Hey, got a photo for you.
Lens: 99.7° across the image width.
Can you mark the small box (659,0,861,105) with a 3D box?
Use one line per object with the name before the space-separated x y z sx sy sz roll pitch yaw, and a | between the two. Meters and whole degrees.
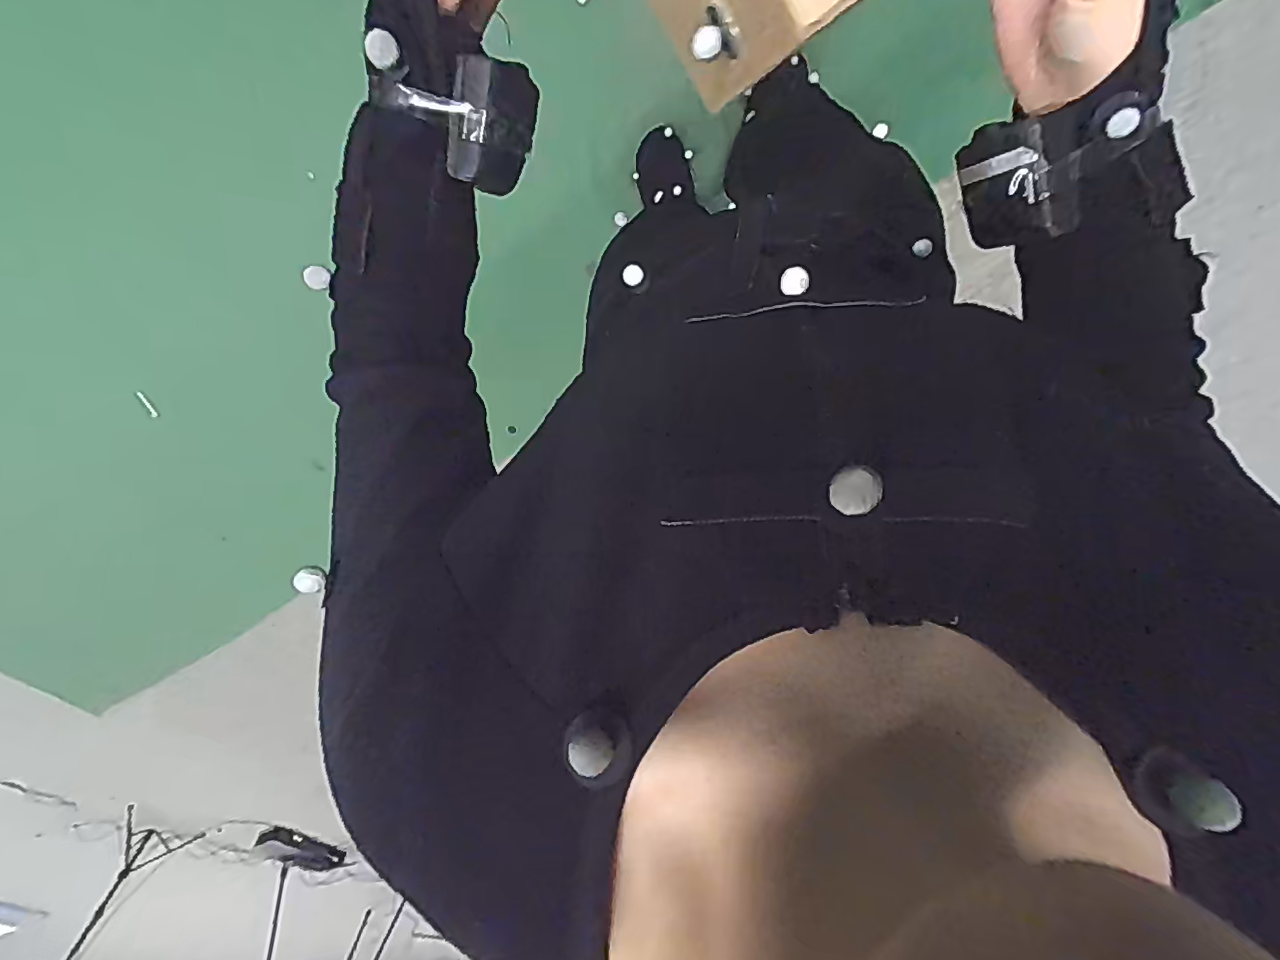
small box | 0.071 -0.289 0.195 0.179 0.168 0.176 -35 113 13
